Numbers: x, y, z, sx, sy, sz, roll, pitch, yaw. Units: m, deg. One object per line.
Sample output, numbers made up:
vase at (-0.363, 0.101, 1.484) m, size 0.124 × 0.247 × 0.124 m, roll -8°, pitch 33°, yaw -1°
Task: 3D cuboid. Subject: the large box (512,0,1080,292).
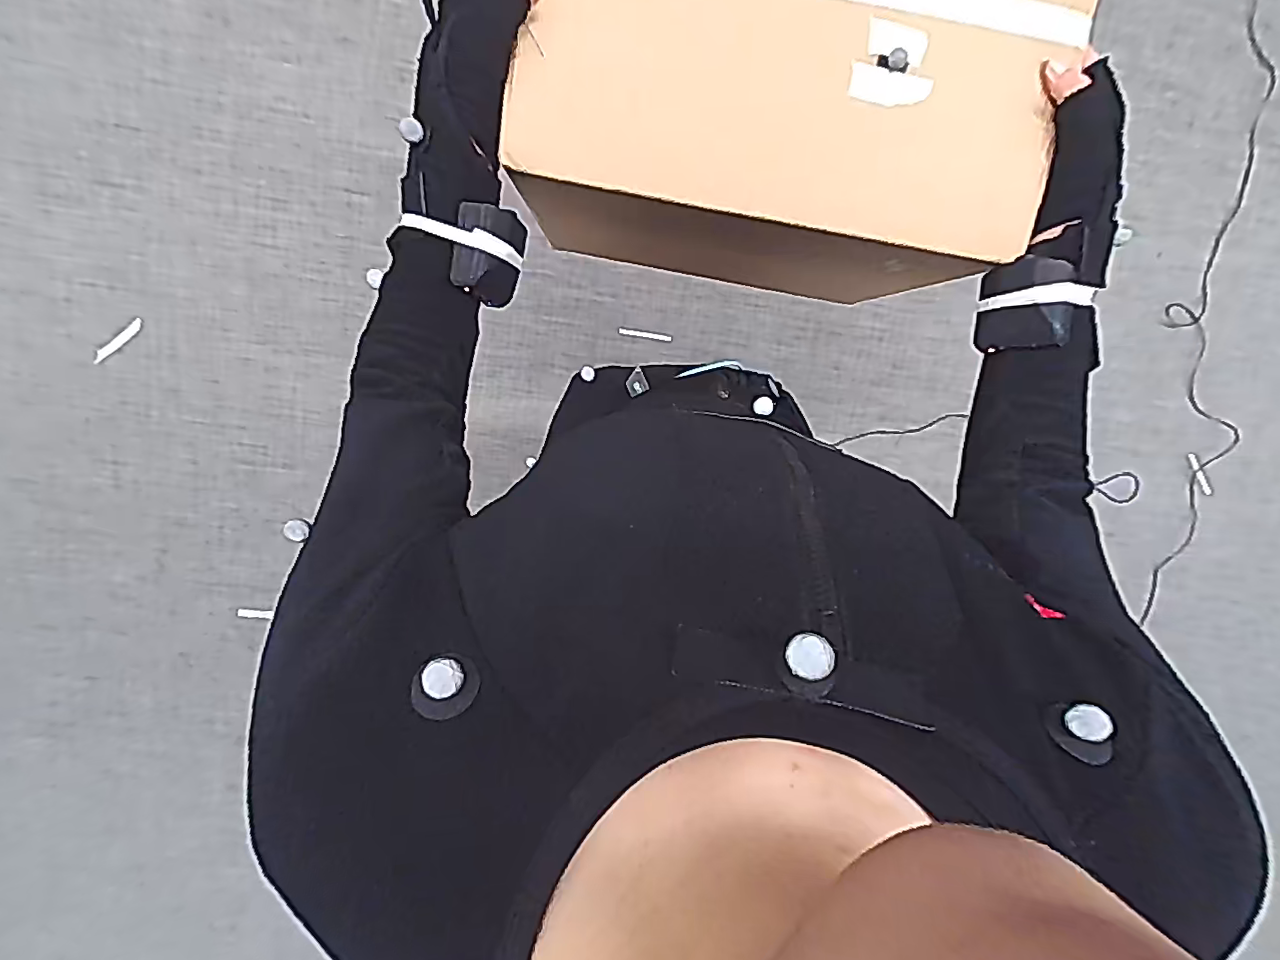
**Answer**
large box at (0.112, -0.388, 0.529) m, size 0.408 × 0.320 × 0.320 m, roll 9°, pitch 103°, yaw -5°
